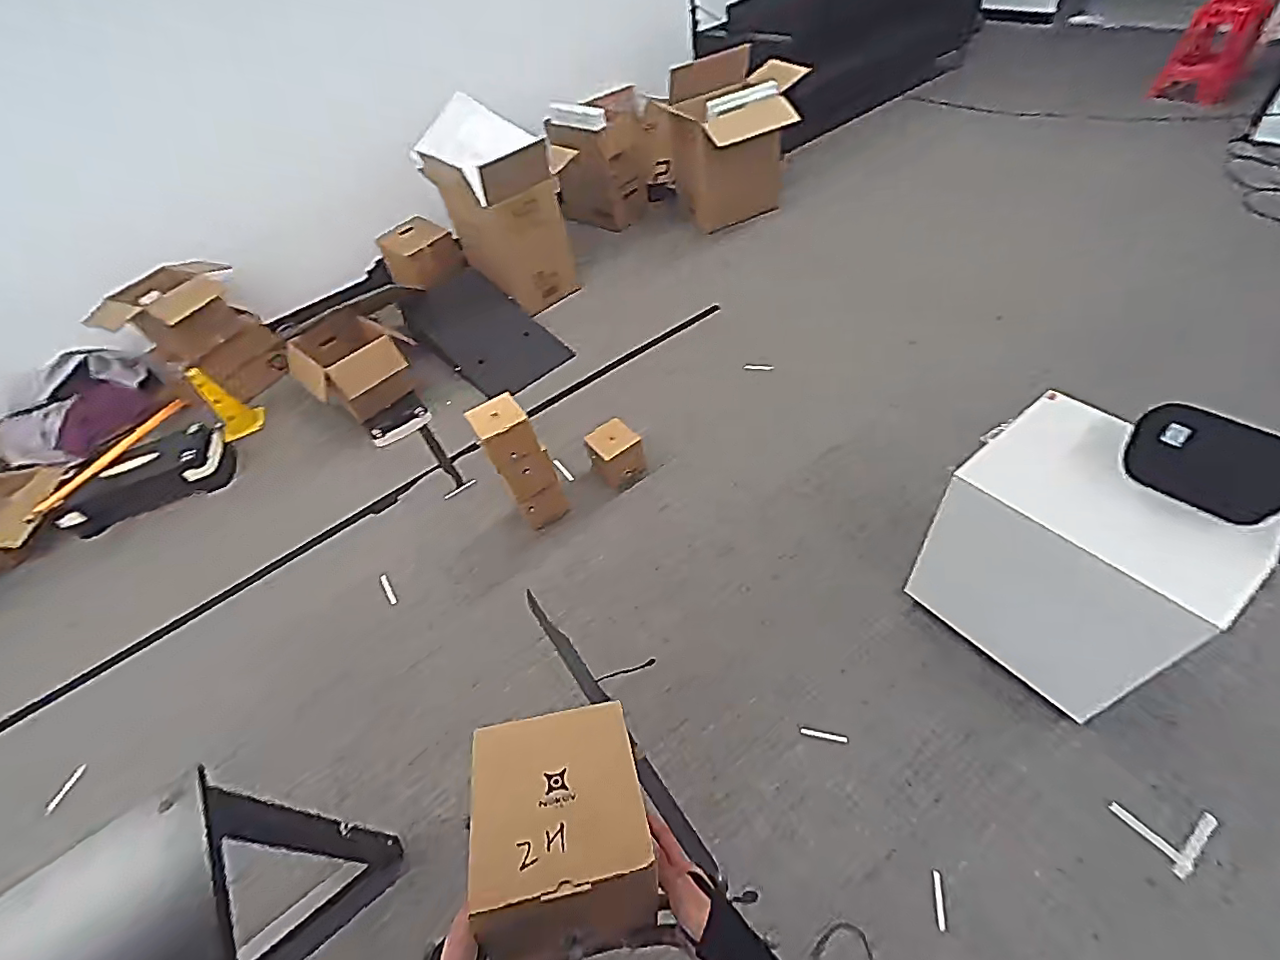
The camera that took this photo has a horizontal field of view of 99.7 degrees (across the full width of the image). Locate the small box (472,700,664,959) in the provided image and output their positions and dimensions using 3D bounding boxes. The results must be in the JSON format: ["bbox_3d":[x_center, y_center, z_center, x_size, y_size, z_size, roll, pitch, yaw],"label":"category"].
[{"bbox_3d":[-0.075,0.370,0.569,0.168,0.176,0.179,-7,33,-9],"label":"small box"}]

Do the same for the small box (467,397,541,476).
[{"bbox_3d":[-0.460,-0.146,1.839,0.168,0.176,0.179,-31,51,-16],"label":"small box"}]

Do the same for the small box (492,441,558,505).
[{"bbox_3d":[-0.423,-0.042,1.959,0.179,0.176,0.168,-32,51,-18],"label":"small box"}]

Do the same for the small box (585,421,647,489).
[{"bbox_3d":[-0.093,-0.096,2.161,0.168,0.176,0.179,-35,53,-17],"label":"small box"}]
